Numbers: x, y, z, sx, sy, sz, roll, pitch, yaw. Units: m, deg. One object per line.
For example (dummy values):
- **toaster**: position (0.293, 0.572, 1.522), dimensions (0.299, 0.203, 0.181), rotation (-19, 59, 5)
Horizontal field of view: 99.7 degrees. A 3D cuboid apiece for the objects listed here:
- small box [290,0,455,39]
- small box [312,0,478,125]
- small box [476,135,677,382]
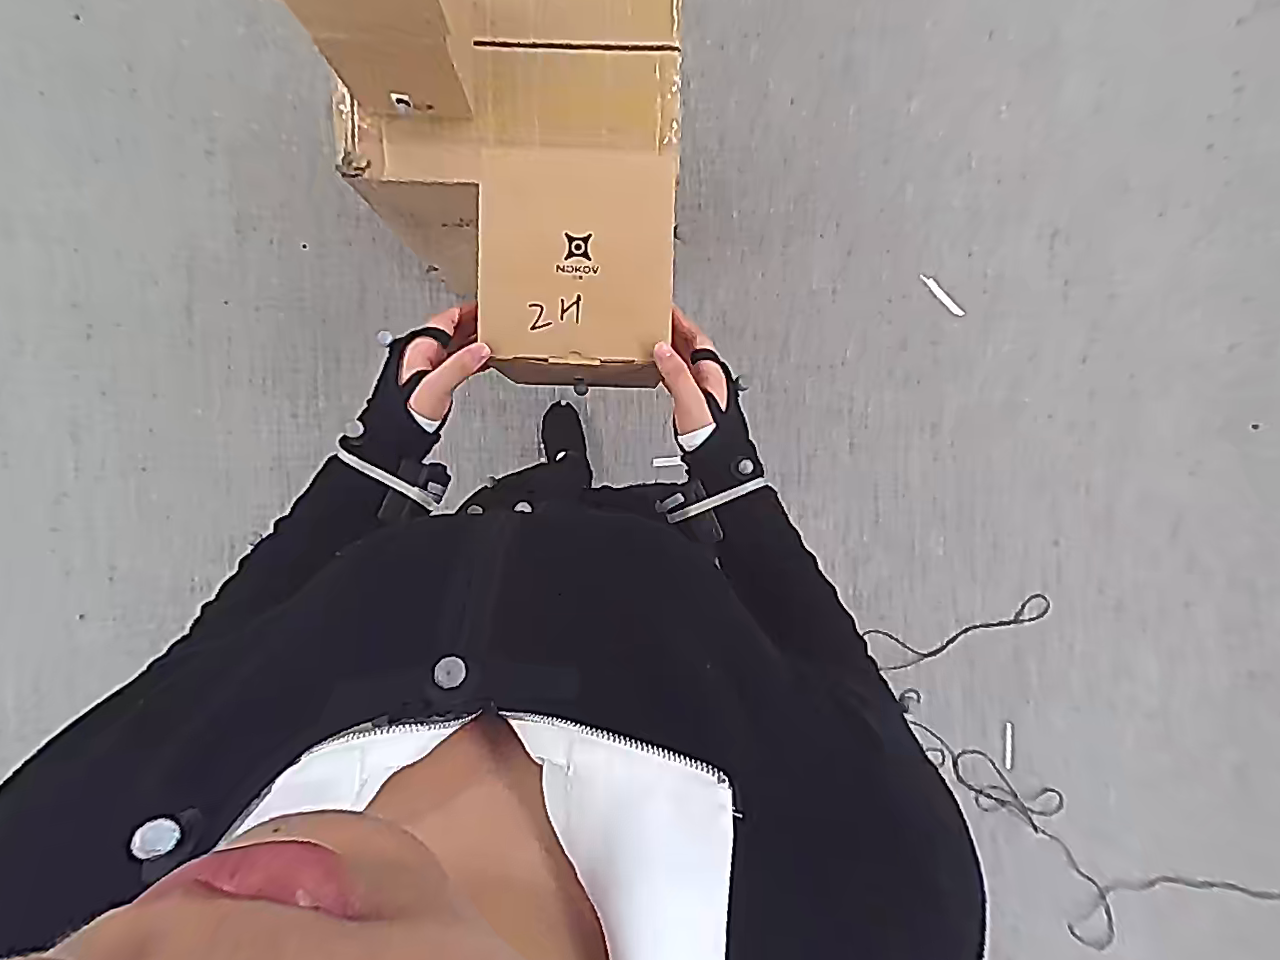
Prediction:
- **small box**: position (-0.311, -0.614, 0.575), dimensions (0.179, 0.176, 0.168), rotation (-2, 94, -4)
- **small box**: position (-0.324, -0.627, 0.739), dimensions (0.168, 0.176, 0.179), rotation (-1, 95, -3)
- **small box**: position (-0.058, -0.201, 0.538), dimensions (0.168, 0.176, 0.179), rotation (2, 92, -2)
